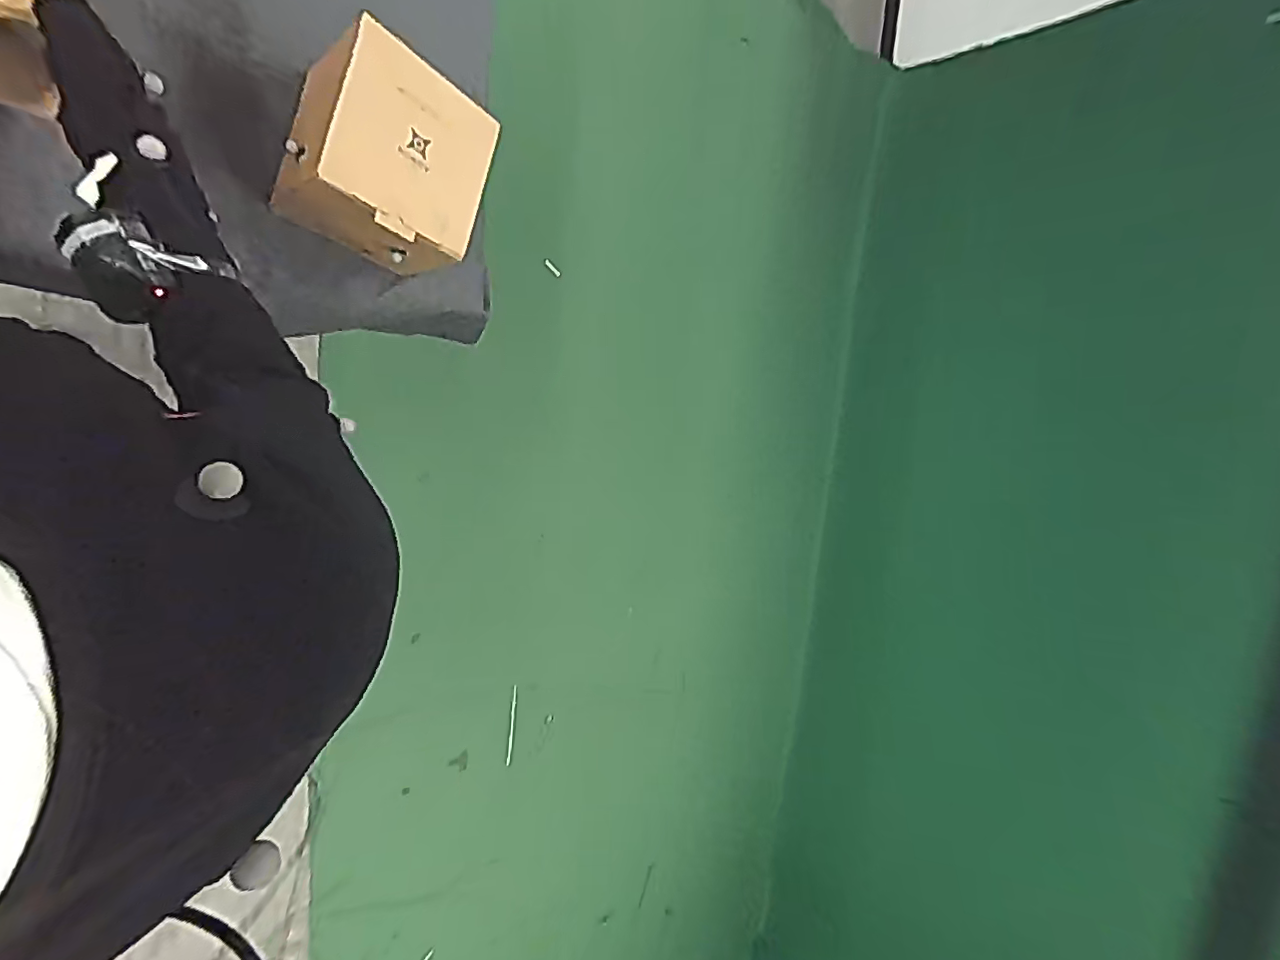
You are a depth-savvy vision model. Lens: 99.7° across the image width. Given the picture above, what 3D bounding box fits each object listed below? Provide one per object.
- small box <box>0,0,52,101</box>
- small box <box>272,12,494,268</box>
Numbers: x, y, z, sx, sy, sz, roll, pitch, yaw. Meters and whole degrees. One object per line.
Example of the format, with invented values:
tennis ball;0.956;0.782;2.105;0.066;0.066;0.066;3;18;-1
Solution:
small box;-0.512;-0.394;0.350;0.168;0.176;0.179;-6;98;-45
small box;-0.304;-0.371;0.636;0.168;0.176;0.179;15;86;-50
